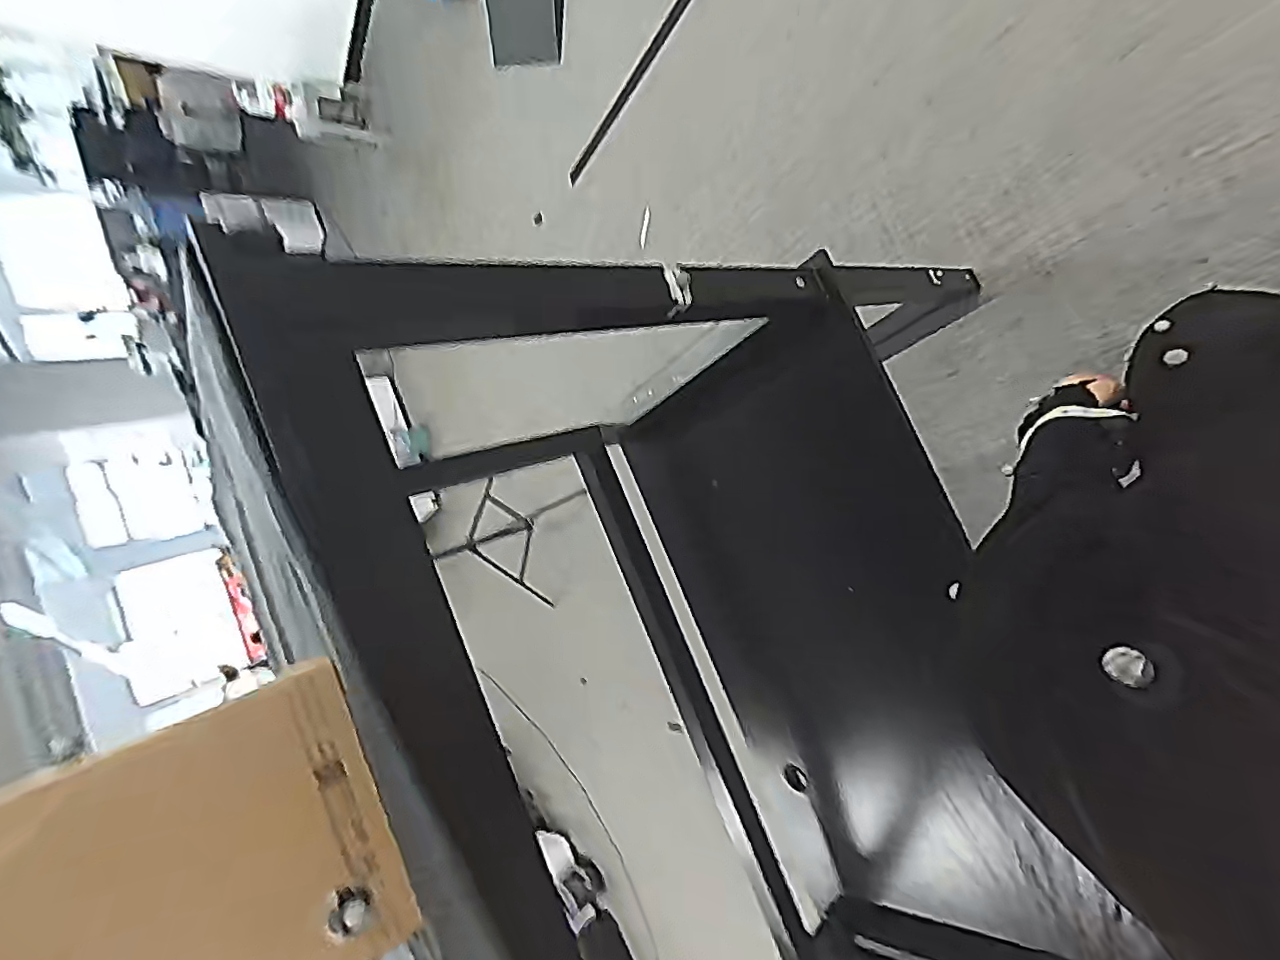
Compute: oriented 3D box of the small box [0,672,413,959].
[{"bbox_3d":[-0.260,0.232,0.332,0.179,0.176,0.168,-27,83,51],"label":"small box"}]
